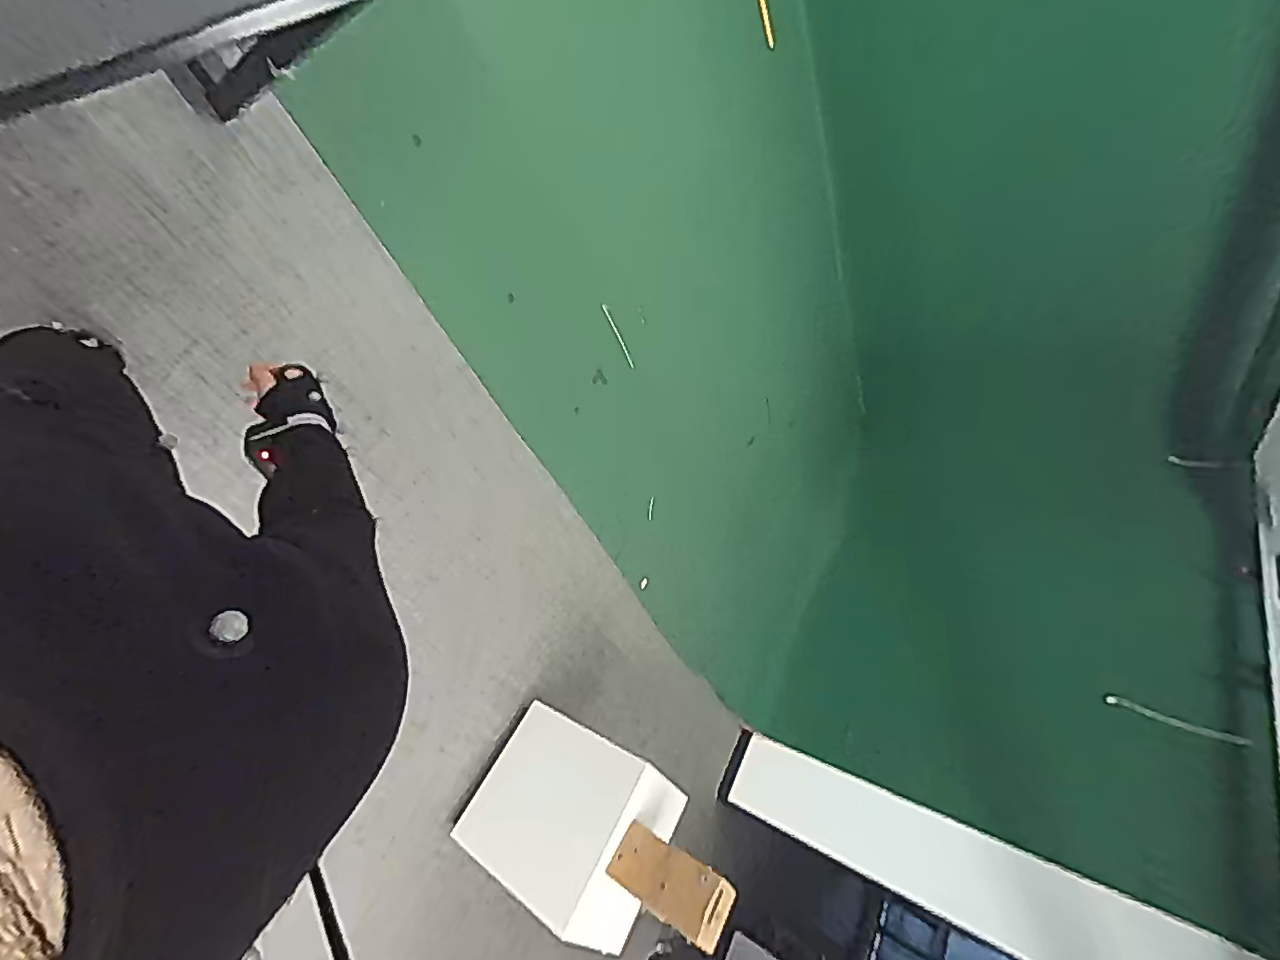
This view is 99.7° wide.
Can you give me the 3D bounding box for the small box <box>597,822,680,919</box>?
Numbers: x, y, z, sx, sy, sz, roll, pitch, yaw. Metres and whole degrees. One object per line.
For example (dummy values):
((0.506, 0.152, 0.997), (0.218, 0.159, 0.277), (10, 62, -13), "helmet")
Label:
((-0.005, 1.209, 1.683), (0.168, 0.176, 0.179), (-51, 135, -33), "small box")
